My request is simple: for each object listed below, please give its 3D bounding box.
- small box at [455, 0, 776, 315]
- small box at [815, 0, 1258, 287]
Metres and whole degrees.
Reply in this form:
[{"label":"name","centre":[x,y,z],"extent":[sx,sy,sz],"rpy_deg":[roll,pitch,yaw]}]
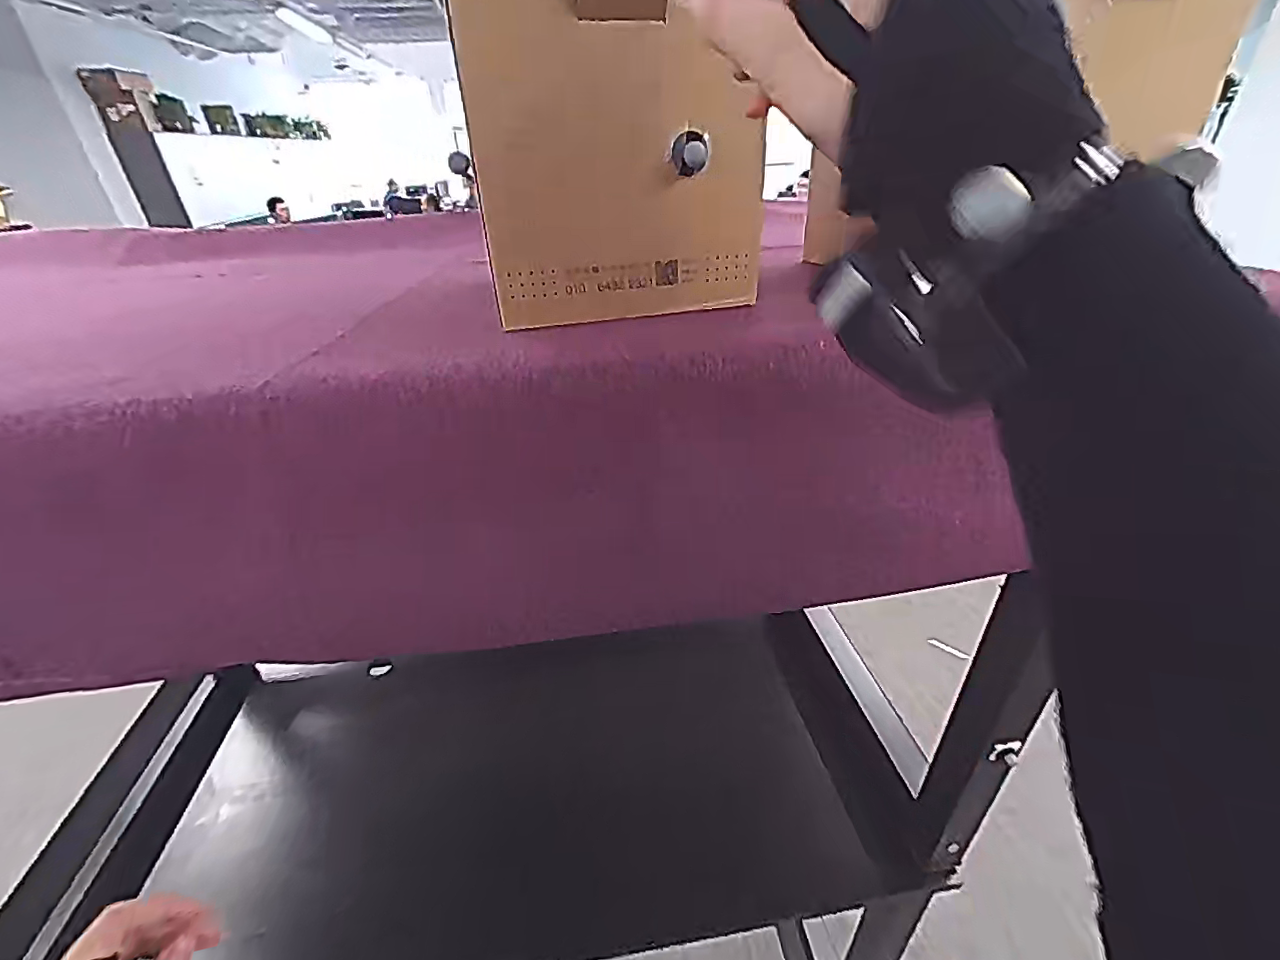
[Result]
[{"label":"small box","centre":[-0.020,-0.214,0.369],"extent":[0.168,0.176,0.179],"rpy_deg":[-8,31,-10]},{"label":"small box","centre":[0.243,-0.239,0.382],"extent":[0.168,0.176,0.179],"rpy_deg":[-11,31,-11]}]
